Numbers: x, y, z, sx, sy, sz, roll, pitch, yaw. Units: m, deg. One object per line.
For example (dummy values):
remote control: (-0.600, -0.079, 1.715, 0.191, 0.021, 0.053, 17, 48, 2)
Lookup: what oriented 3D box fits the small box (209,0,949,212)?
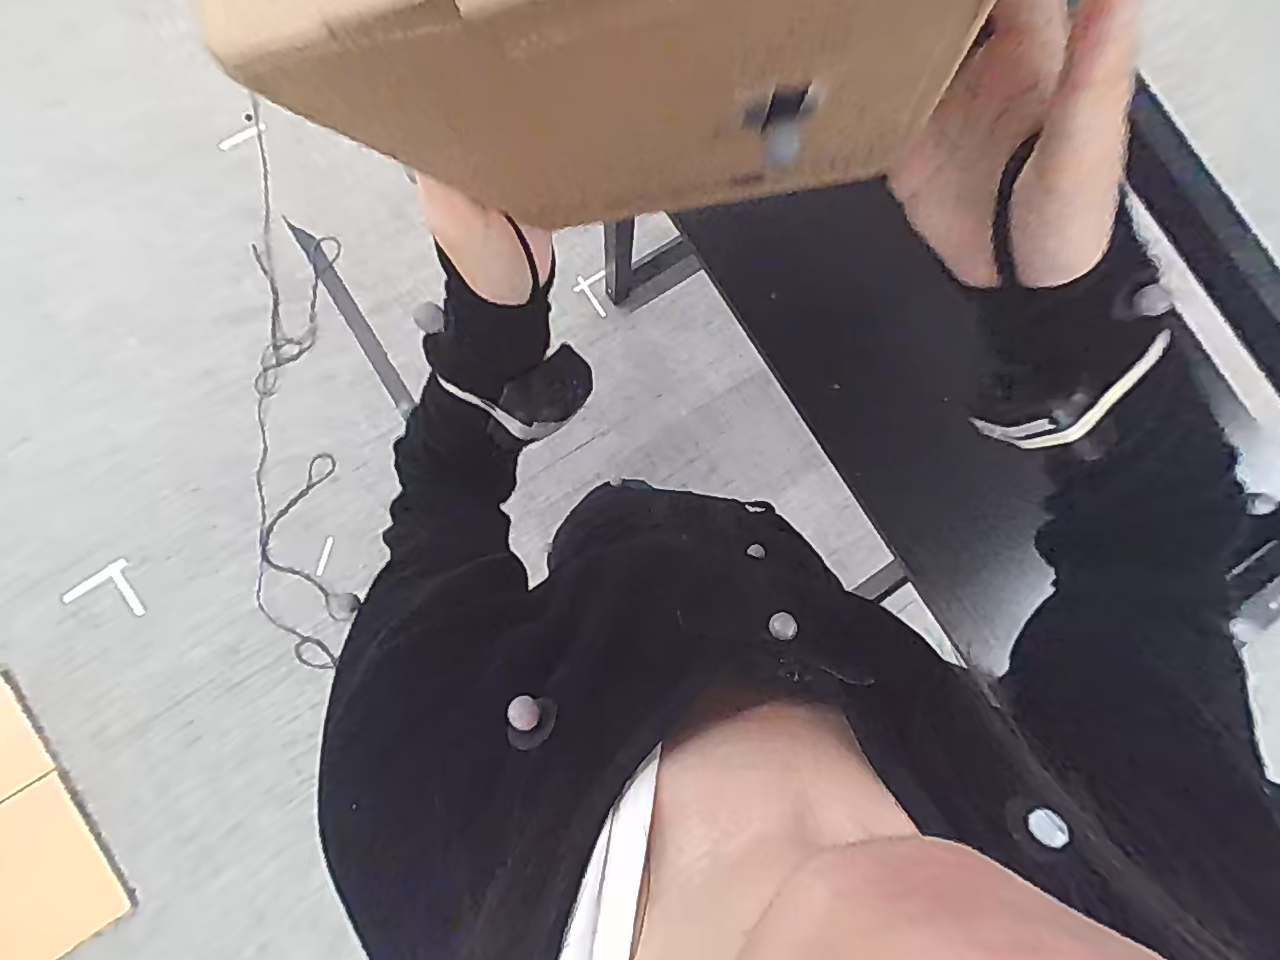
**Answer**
small box: (0.000, -0.194, 0.157, 0.168, 0.176, 0.179, -2, 101, 14)
